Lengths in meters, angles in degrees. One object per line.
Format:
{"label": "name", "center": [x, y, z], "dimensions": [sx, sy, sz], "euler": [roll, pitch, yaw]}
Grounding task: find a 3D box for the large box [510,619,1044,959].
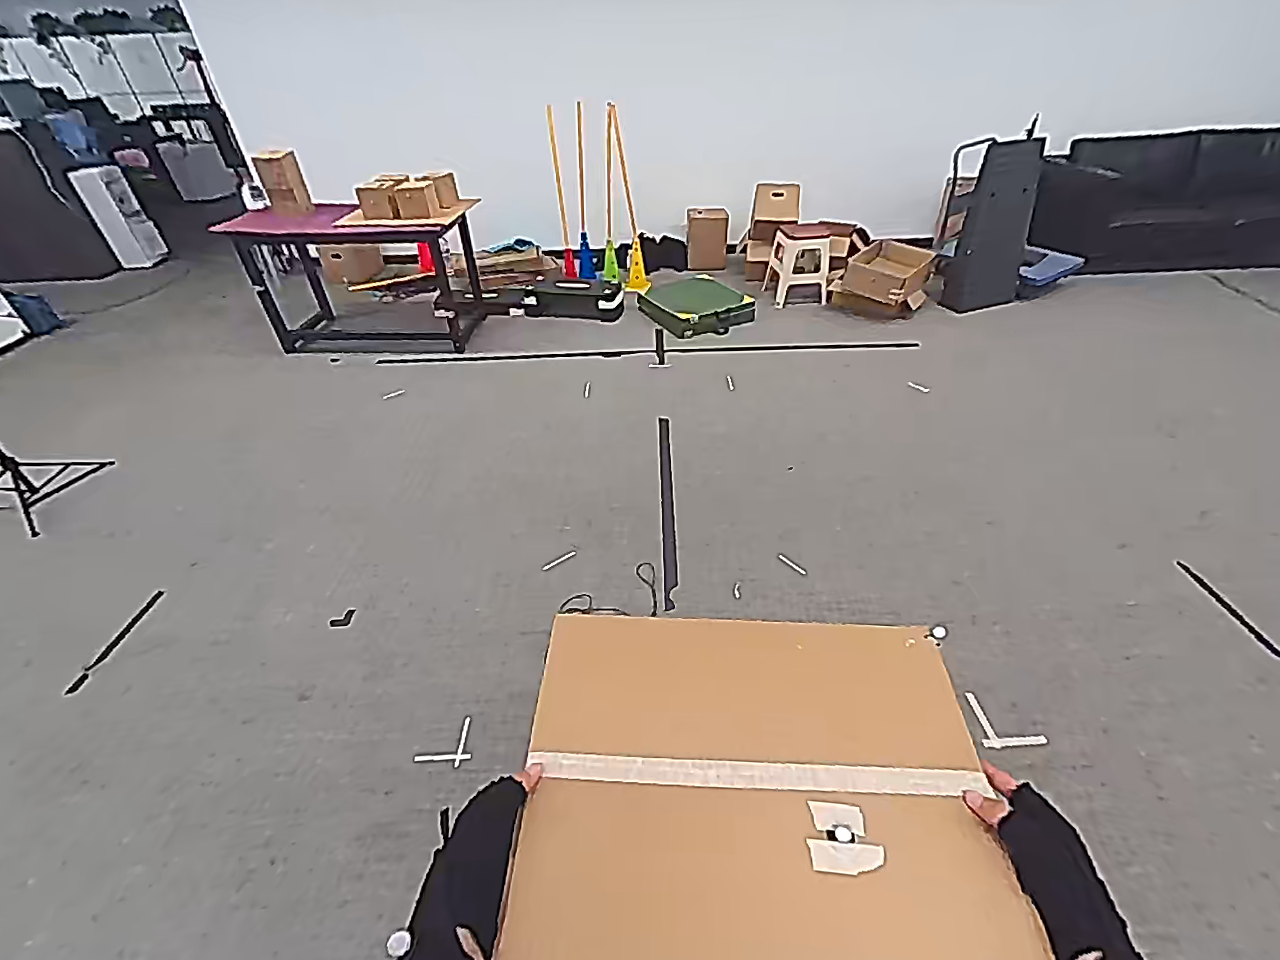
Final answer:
{"label": "large box", "center": [0.107, 0.374, 0.595], "dimensions": [0.408, 0.320, 0.320], "euler": [2, 45, 3]}
